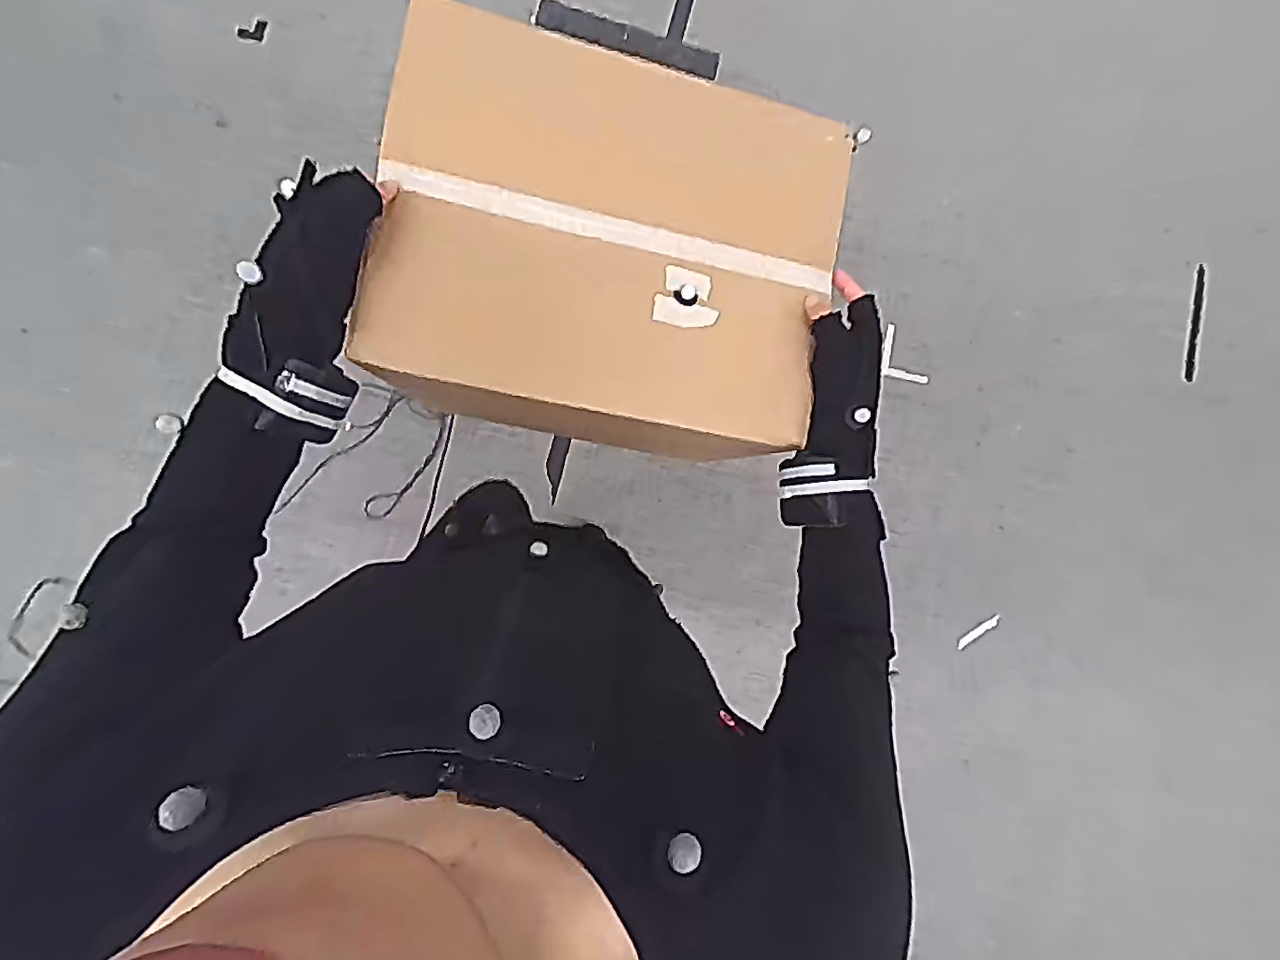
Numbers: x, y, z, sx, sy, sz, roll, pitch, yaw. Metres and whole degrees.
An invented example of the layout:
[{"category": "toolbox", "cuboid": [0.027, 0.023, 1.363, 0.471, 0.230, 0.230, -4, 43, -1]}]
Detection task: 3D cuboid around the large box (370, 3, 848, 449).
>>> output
[{"category": "large box", "cuboid": [-0.039, -0.227, 0.633, 0.408, 0.320, 0.320, 10, 89, -10]}]
